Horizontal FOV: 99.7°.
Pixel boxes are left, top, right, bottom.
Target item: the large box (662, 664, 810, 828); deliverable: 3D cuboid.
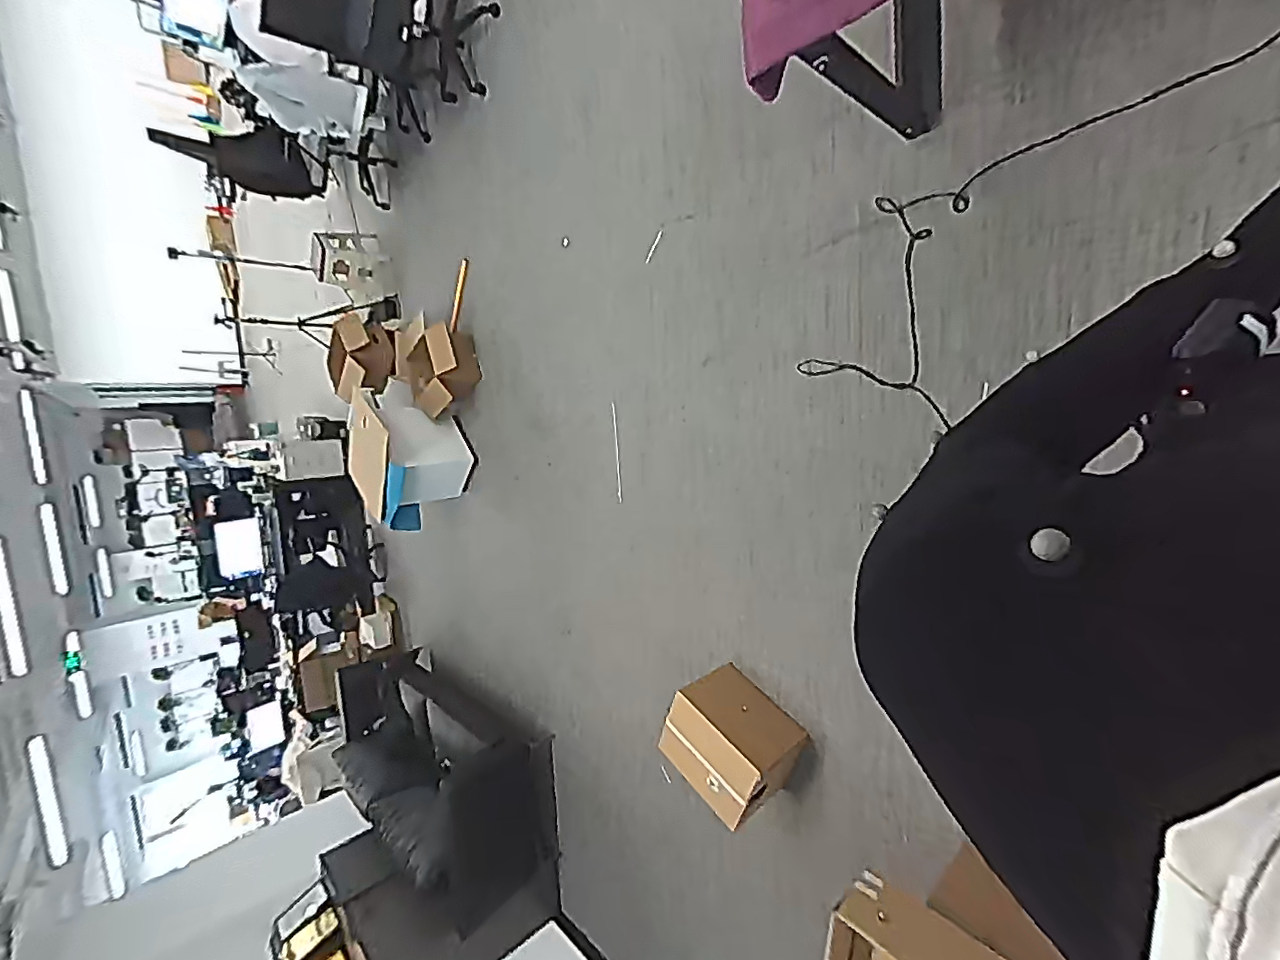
[{"bbox_3d":[0.354,0.983,2.052,0.408,0.320,0.320,34,121,37],"label":"large box"}]
